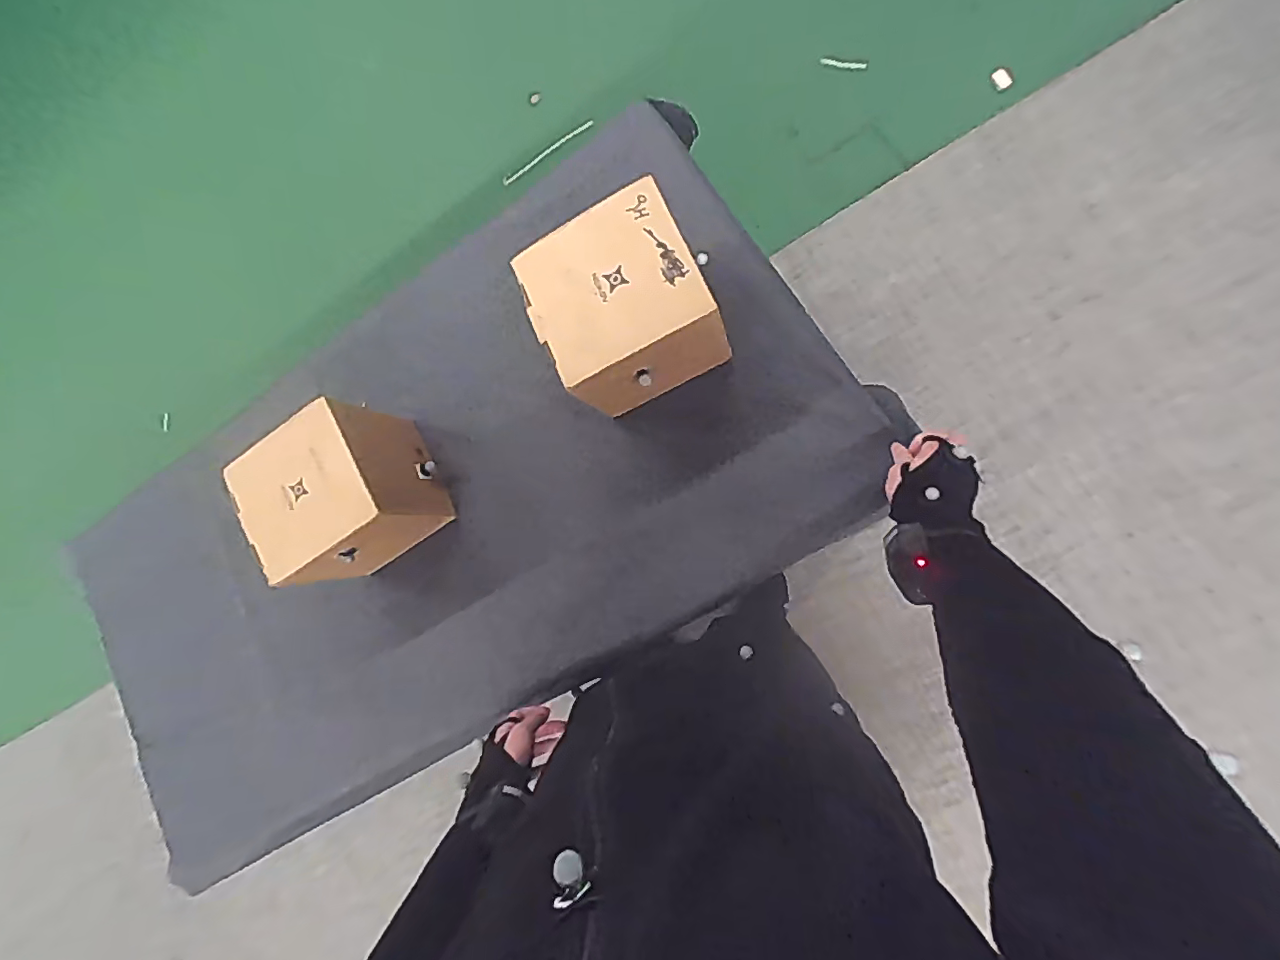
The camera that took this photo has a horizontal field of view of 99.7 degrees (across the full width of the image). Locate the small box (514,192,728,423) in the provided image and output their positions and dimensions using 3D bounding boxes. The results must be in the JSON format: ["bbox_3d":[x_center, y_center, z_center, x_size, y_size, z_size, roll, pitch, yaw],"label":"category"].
[{"bbox_3d":[-0.012,-0.183,0.637,0.179,0.176,0.168,-26,80,12],"label":"small box"}]

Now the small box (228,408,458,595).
[{"bbox_3d":[-0.381,0.033,0.718,0.179,0.176,0.168,-32,79,9],"label":"small box"}]
